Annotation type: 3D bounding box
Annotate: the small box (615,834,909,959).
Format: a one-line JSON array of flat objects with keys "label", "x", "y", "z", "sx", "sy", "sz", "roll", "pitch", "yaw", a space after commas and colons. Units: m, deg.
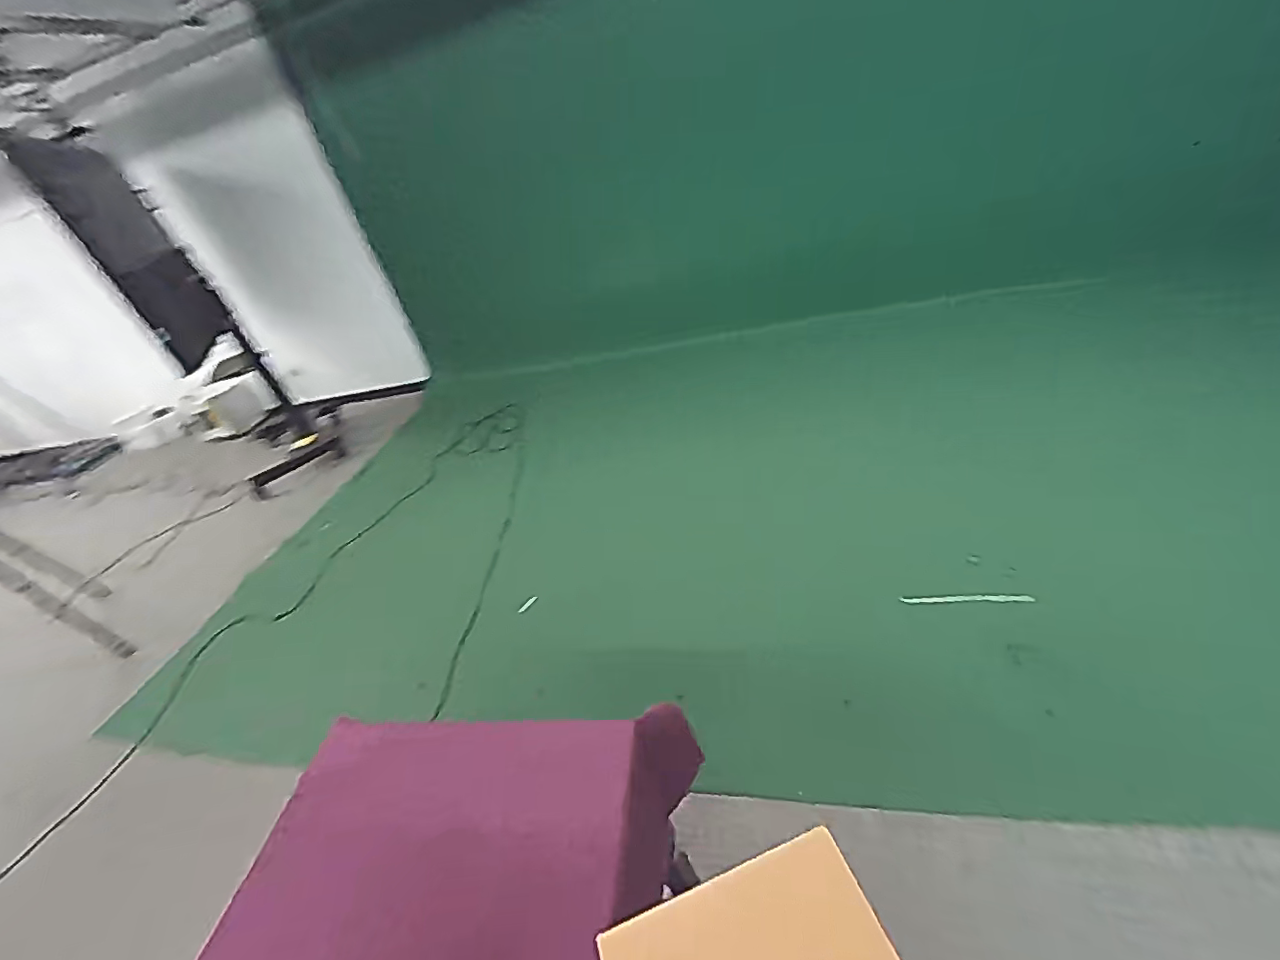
[{"label": "small box", "x": 0.099, "y": 0.371, "z": 0.338, "sx": 0.168, "sy": 0.176, "sz": 0.179, "roll": -21, "pitch": 40, "yaw": -6}]
